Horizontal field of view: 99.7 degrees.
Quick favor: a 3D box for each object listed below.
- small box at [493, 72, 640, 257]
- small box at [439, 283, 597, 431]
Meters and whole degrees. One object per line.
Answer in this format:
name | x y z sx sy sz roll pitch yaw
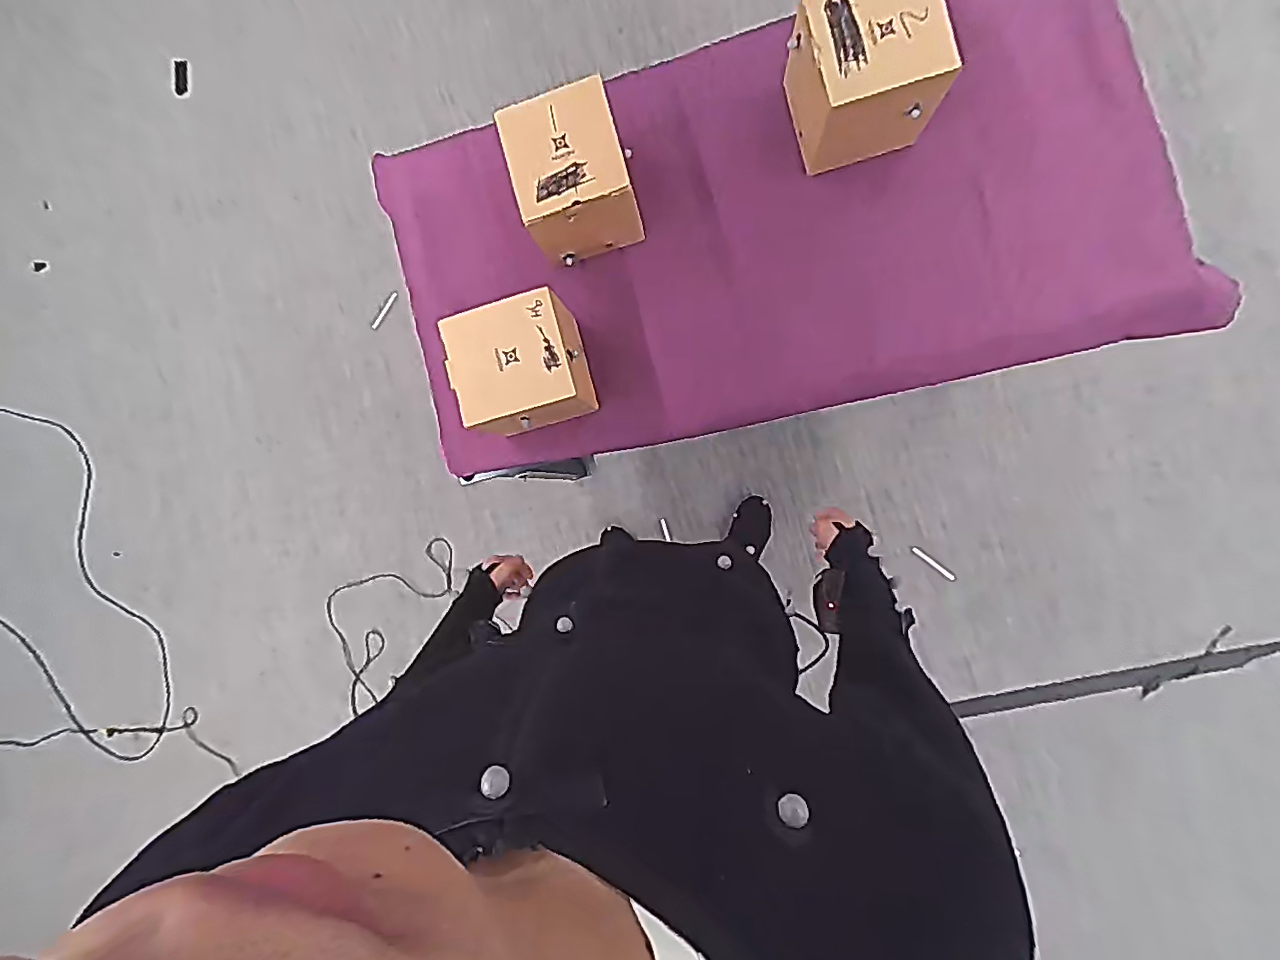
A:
small box | -0.105 -0.477 0.853 0.168 0.176 0.179 -16 87 7
small box | -0.184 -0.182 0.859 0.179 0.176 0.168 -15 88 7
